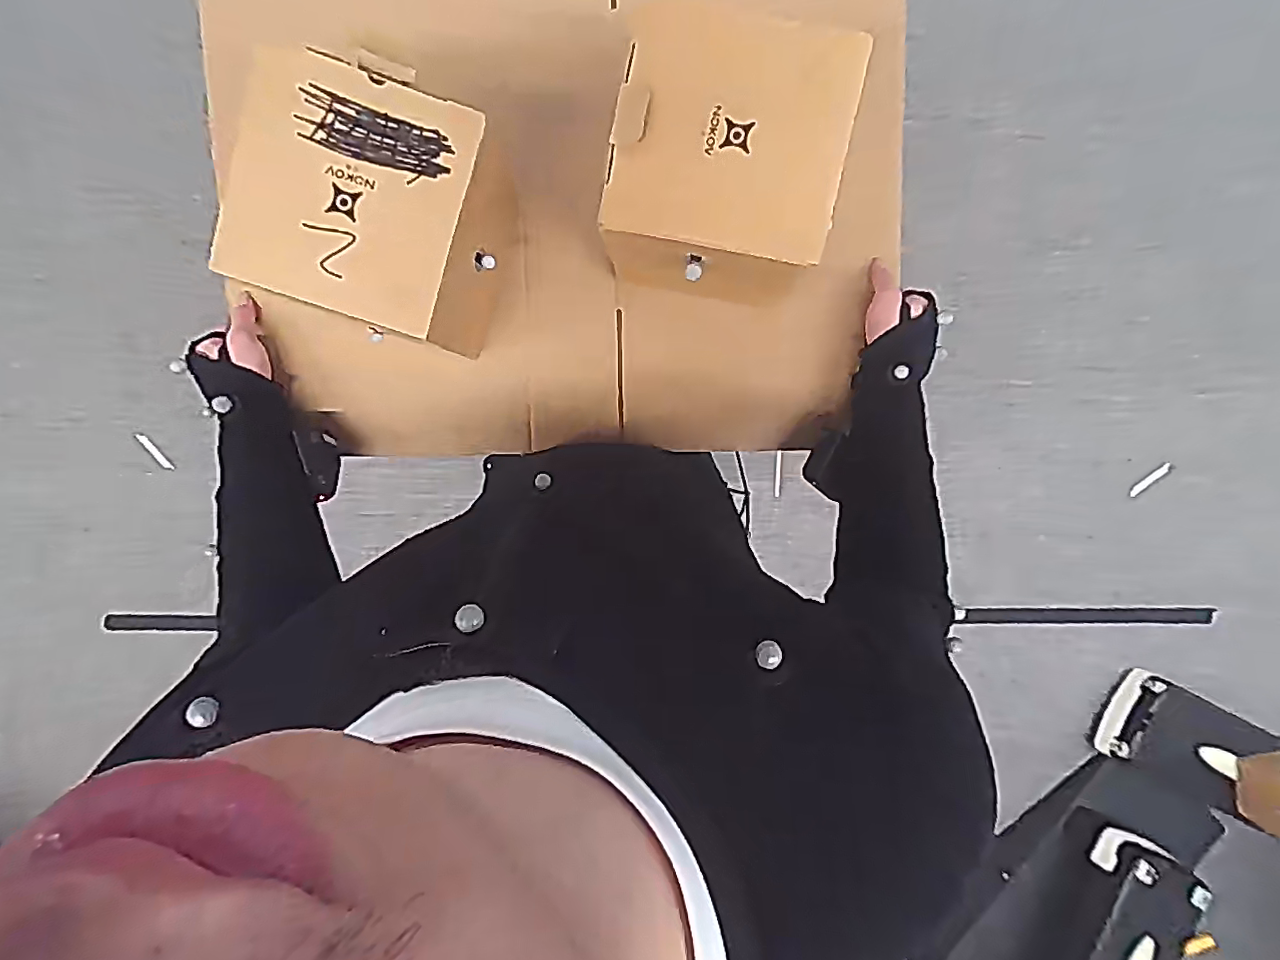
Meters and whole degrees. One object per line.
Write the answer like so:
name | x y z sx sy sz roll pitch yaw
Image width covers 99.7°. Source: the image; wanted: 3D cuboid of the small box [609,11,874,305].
small box | 0.082 -0.270 0.498 0.179 0.176 0.168 12 97 4
